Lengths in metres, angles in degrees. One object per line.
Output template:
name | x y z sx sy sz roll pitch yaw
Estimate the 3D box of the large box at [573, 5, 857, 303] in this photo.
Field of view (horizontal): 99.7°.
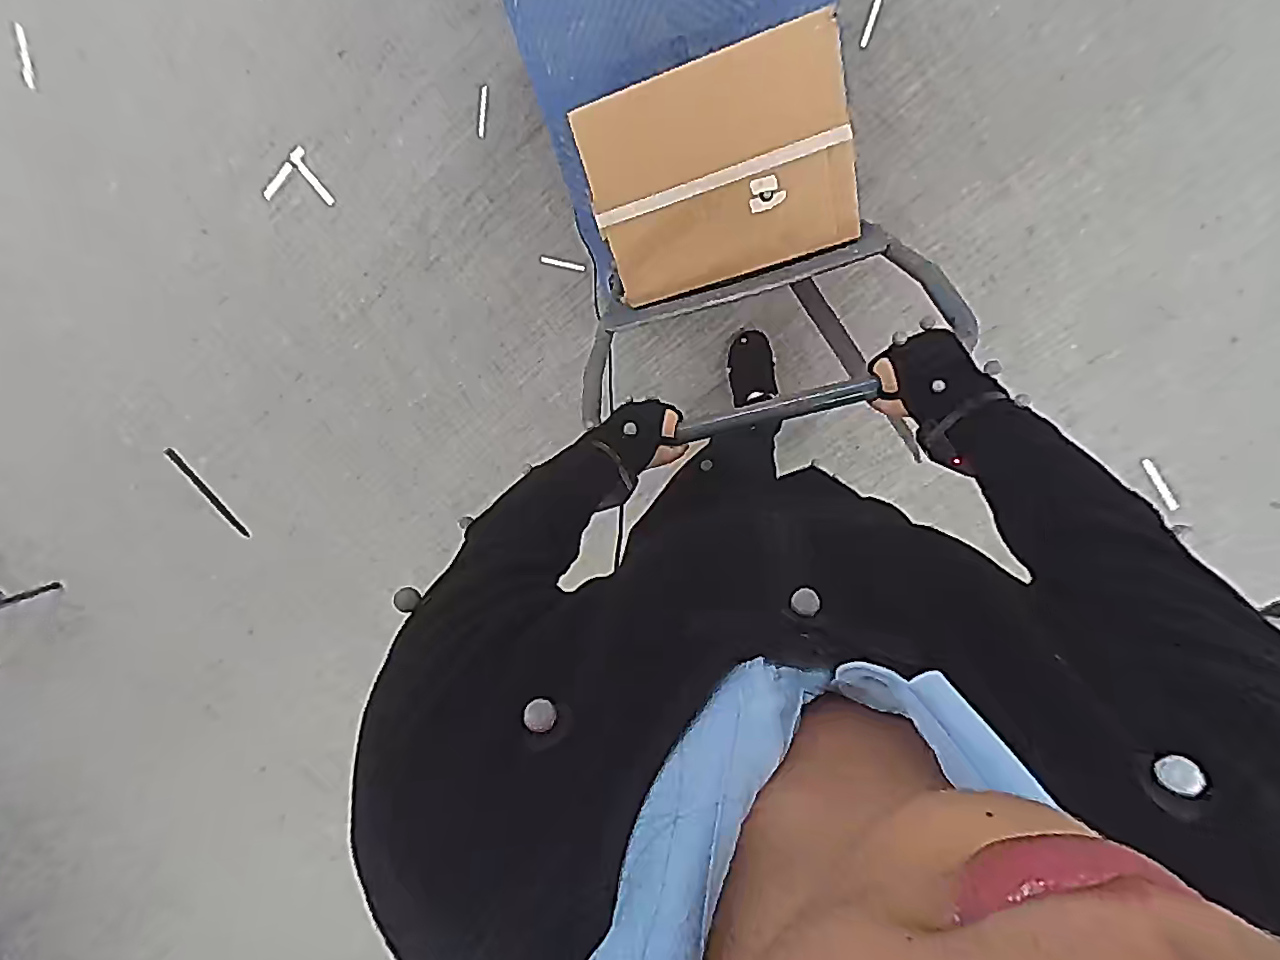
large box | 0.136 -0.572 1.000 0.408 0.320 0.320 -14 120 13
